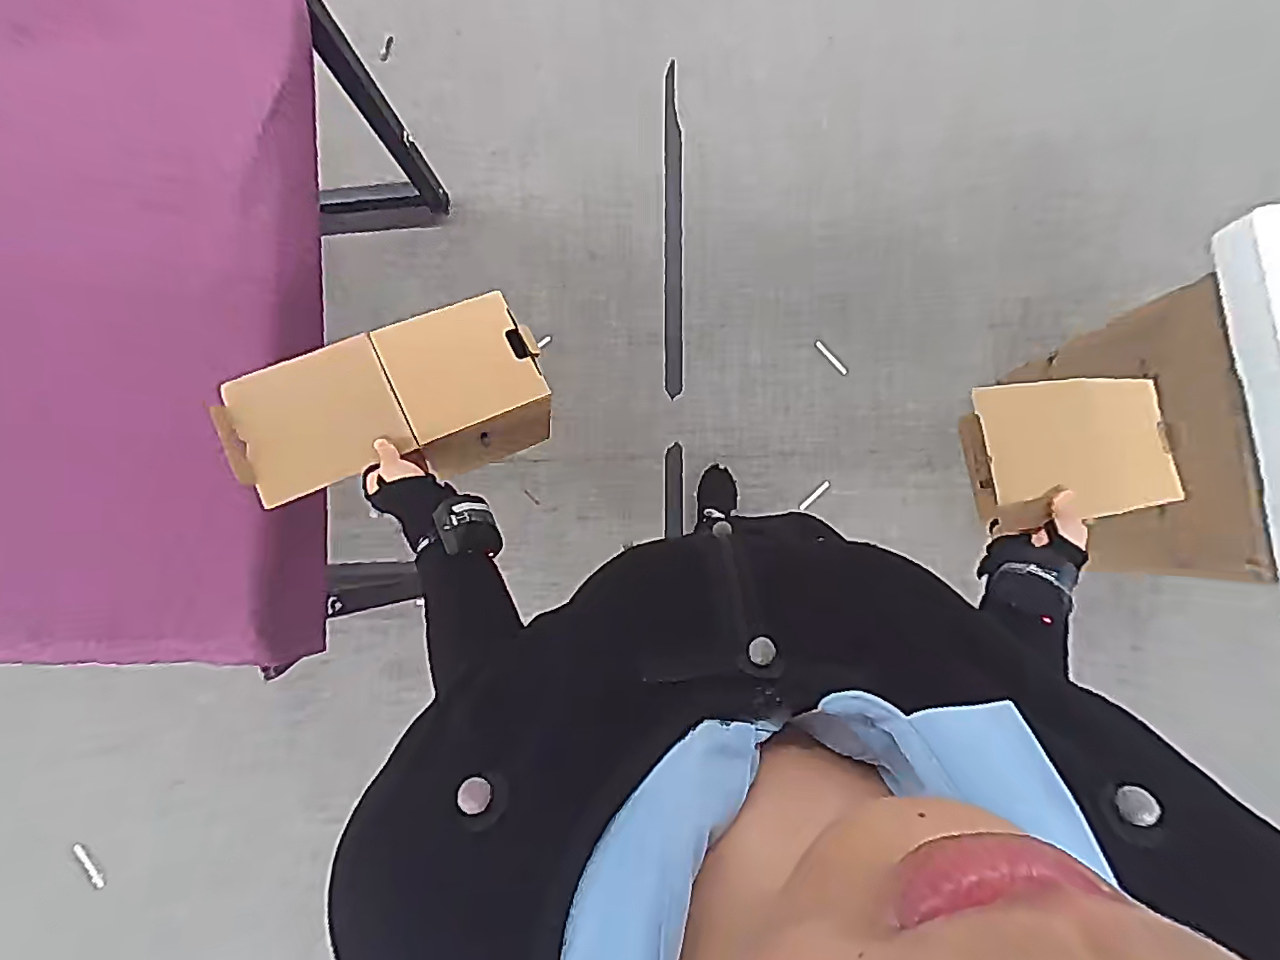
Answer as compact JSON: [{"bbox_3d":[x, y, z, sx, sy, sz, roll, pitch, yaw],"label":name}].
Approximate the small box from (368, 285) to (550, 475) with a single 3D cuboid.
[{"bbox_3d":[-0.233,-0.126,0.740,0.179,0.176,0.168,-25,80,-16],"label":"small box"}]
